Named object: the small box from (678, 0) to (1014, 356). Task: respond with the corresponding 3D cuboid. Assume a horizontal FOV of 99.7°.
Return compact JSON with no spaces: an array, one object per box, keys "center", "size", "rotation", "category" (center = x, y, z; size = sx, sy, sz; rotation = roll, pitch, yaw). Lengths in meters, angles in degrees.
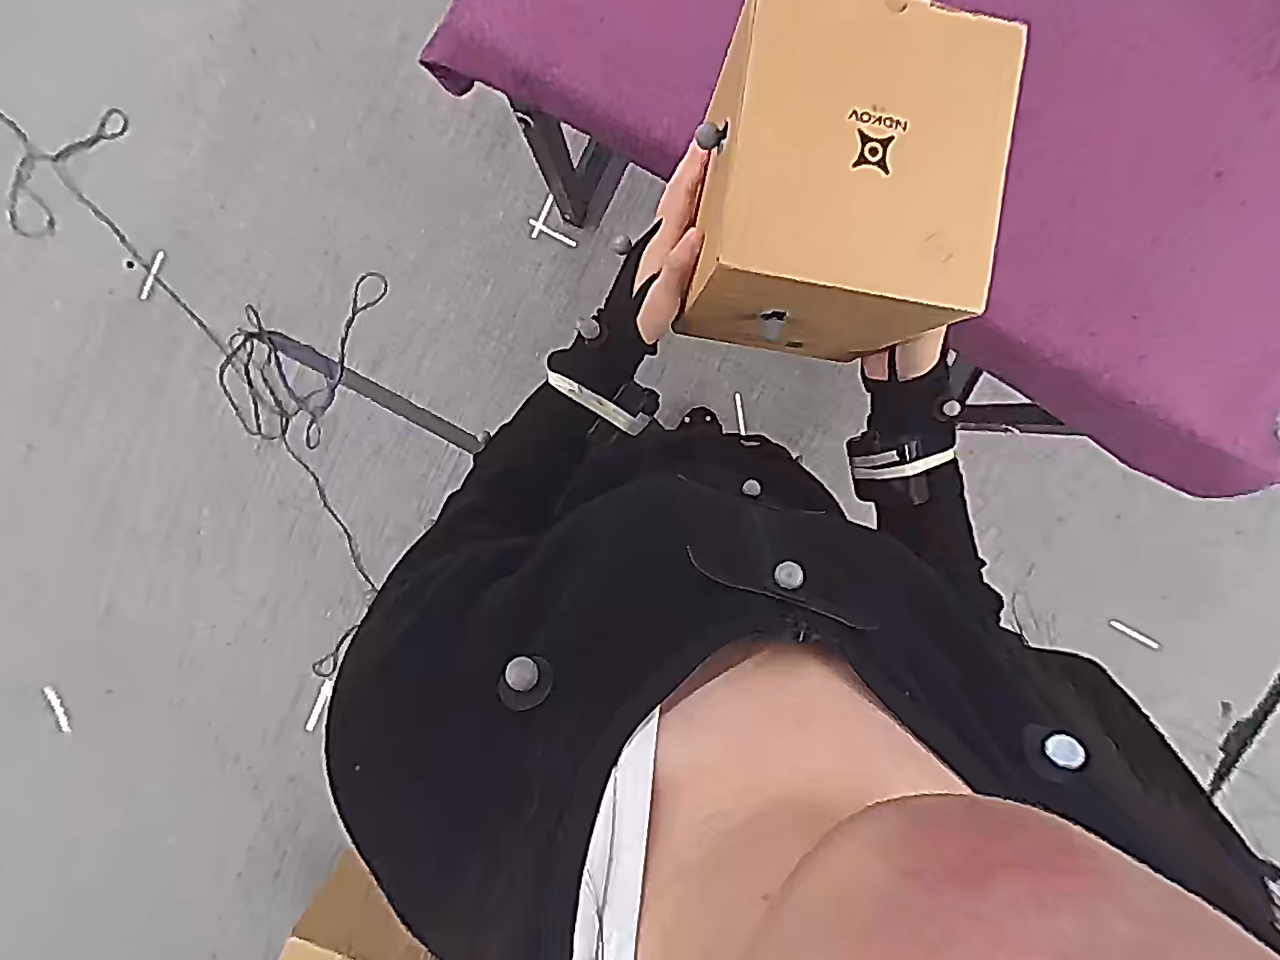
[{"center":[0.127,-0.200,0.401],"size":[0.168,0.176,0.179],"rotation":[7,90,-6],"category":"small box"}]
